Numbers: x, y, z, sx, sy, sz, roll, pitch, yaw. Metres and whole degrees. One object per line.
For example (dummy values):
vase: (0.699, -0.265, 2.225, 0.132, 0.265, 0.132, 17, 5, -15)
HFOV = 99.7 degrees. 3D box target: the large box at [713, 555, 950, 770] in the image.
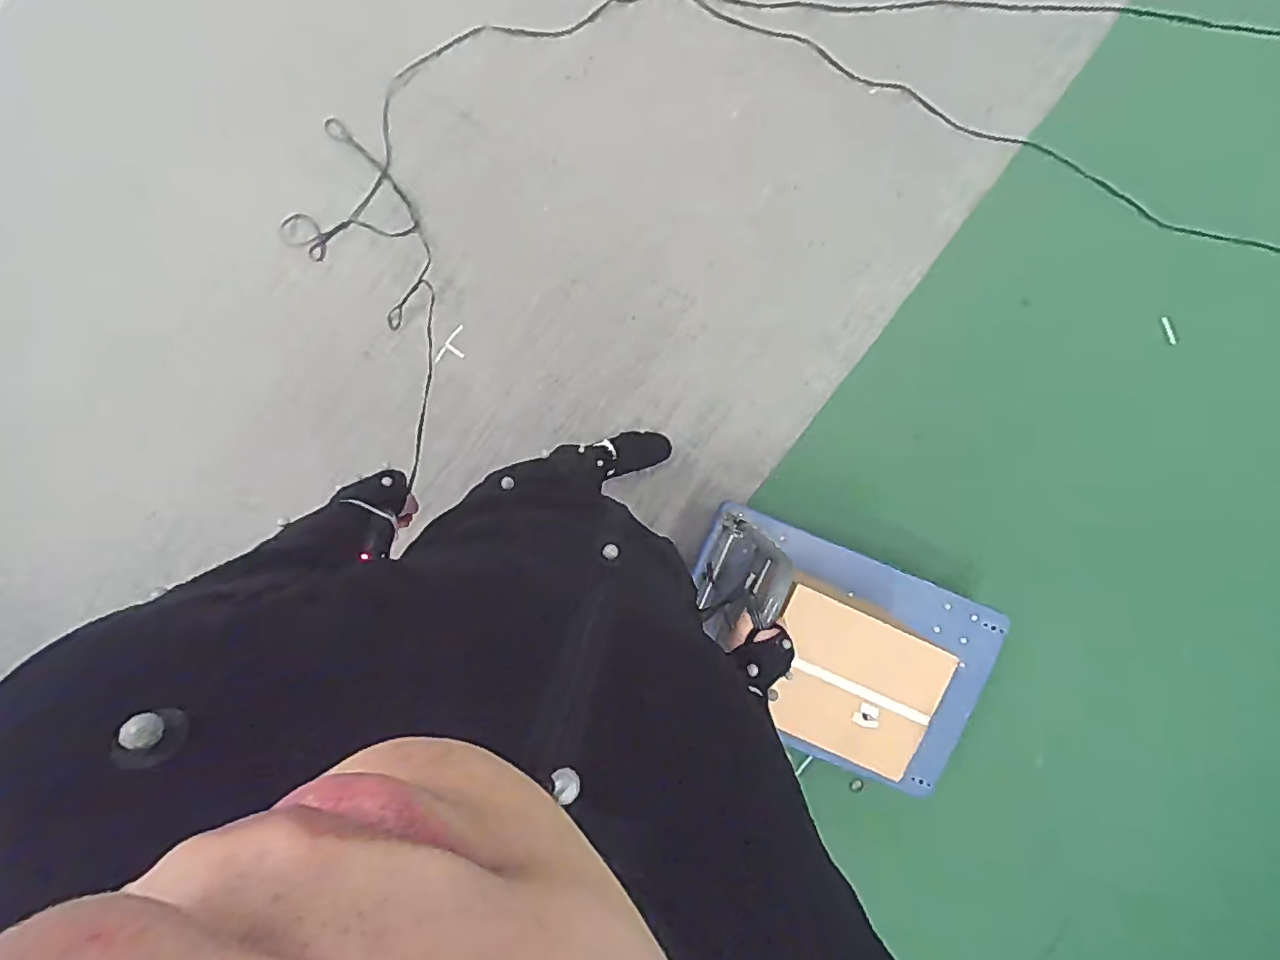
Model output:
large box: (0.441, 0.425, 1.342, 0.408, 0.320, 0.320, 25, 94, -3)
